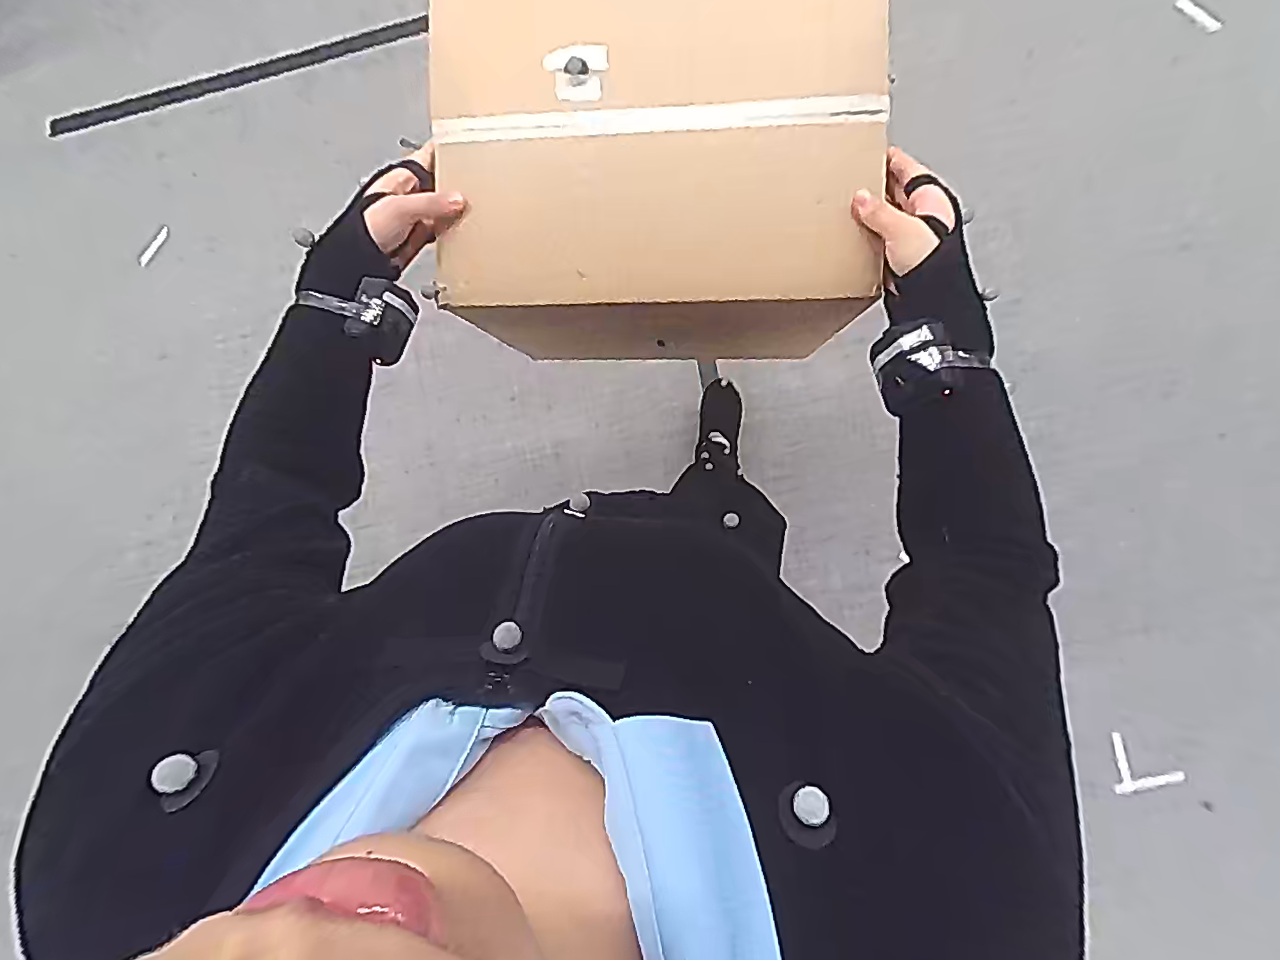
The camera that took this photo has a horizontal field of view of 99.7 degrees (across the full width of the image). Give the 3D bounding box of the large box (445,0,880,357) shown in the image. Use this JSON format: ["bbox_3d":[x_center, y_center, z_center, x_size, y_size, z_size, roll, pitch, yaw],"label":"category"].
[{"bbox_3d":[0.032,-0.329,0.643,0.408,0.320,0.320,0,92,6],"label":"large box"}]
